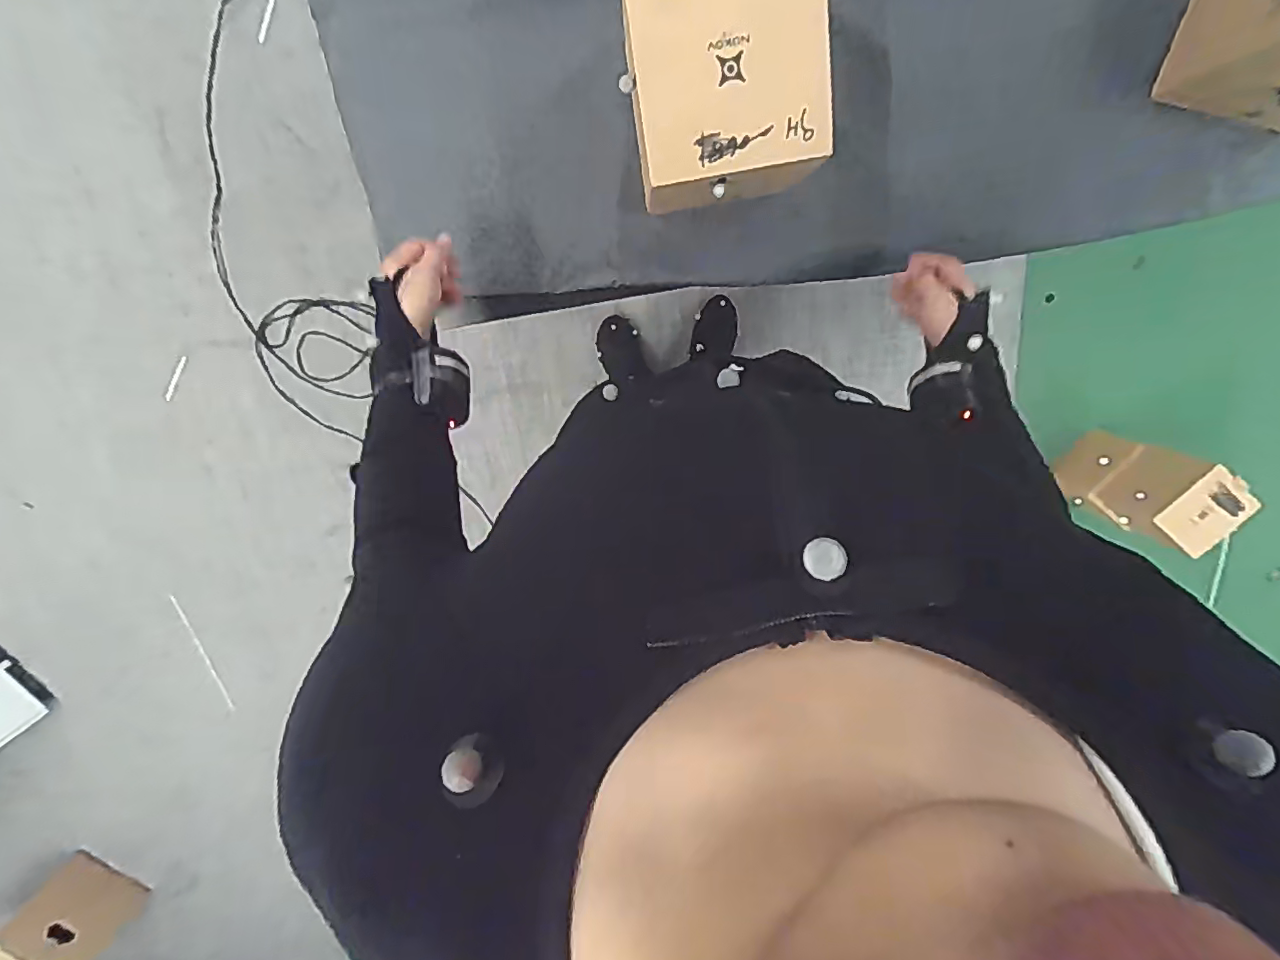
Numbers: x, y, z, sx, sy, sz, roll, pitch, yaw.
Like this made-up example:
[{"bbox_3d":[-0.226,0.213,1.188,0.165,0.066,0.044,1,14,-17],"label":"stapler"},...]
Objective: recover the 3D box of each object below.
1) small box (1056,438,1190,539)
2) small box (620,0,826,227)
[{"bbox_3d":[1.252,0.017,1.424,0.168,0.176,0.179,36,105,-11],"label":"small box"},{"bbox_3d":[0.072,-0.367,0.533,0.168,0.176,0.179,-8,107,3],"label":"small box"}]
